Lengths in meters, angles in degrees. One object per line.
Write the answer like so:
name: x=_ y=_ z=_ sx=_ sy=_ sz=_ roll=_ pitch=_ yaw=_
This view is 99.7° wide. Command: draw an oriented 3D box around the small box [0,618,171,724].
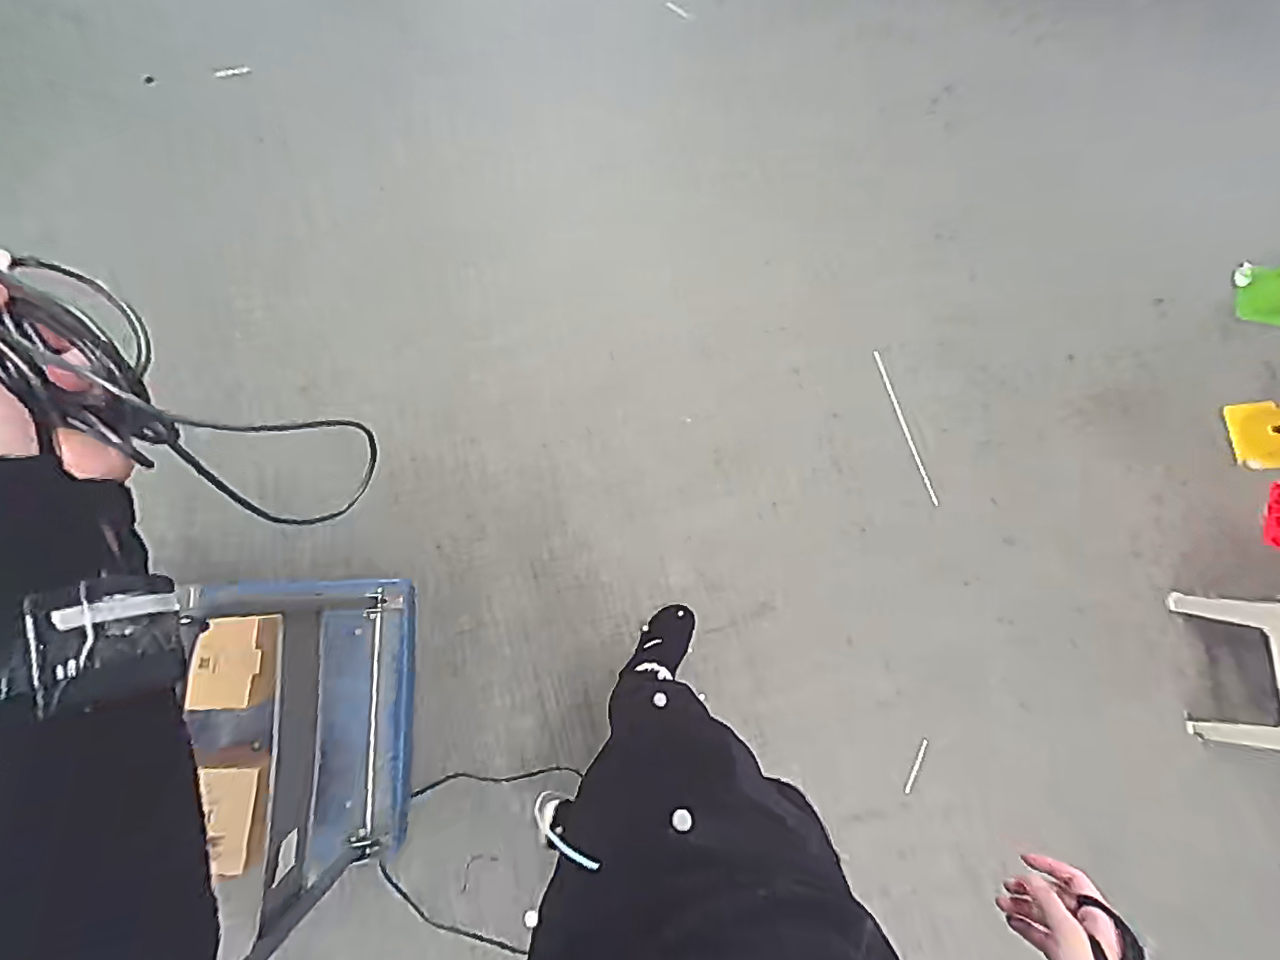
small box: x=-1.085 y=0.371 z=1.077 sx=0.179 sy=0.176 sz=0.168 roll=-6 pitch=80 yaw=-6

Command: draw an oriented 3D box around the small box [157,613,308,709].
small box: x=-0.817 y=0.361 z=1.100 sx=0.179 sy=0.176 sz=0.168 roll=-1 pitch=79 yaw=-5
